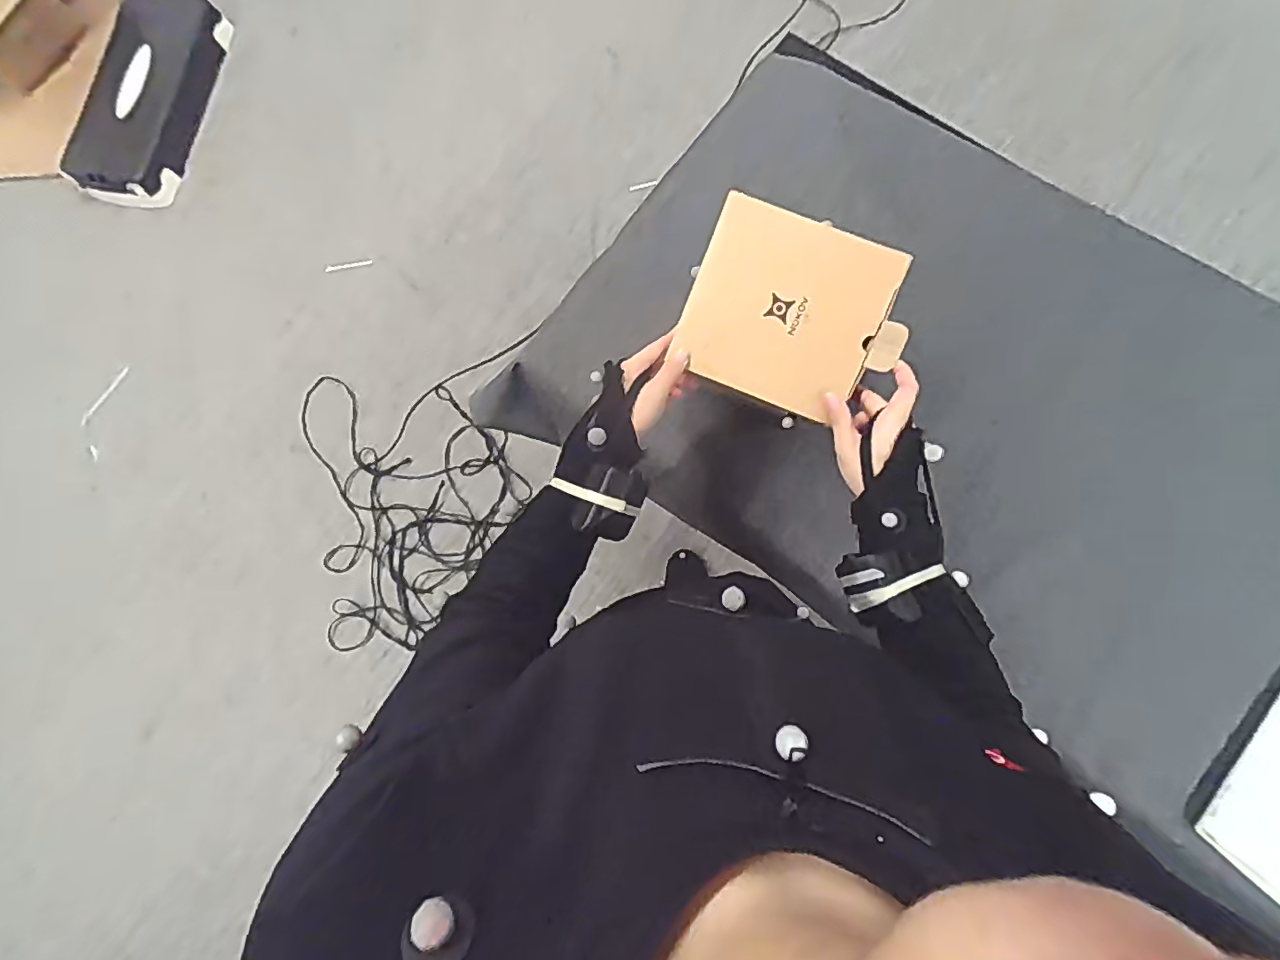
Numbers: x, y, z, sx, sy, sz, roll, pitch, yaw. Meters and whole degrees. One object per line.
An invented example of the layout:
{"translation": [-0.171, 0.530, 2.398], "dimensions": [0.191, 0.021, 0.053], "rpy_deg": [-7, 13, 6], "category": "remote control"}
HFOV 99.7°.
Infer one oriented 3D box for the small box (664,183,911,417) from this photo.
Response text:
{"translation": [0.138, -0.169, 0.569], "dimensions": [0.179, 0.176, 0.168], "rpy_deg": [22, 97, 3], "category": "small box"}
